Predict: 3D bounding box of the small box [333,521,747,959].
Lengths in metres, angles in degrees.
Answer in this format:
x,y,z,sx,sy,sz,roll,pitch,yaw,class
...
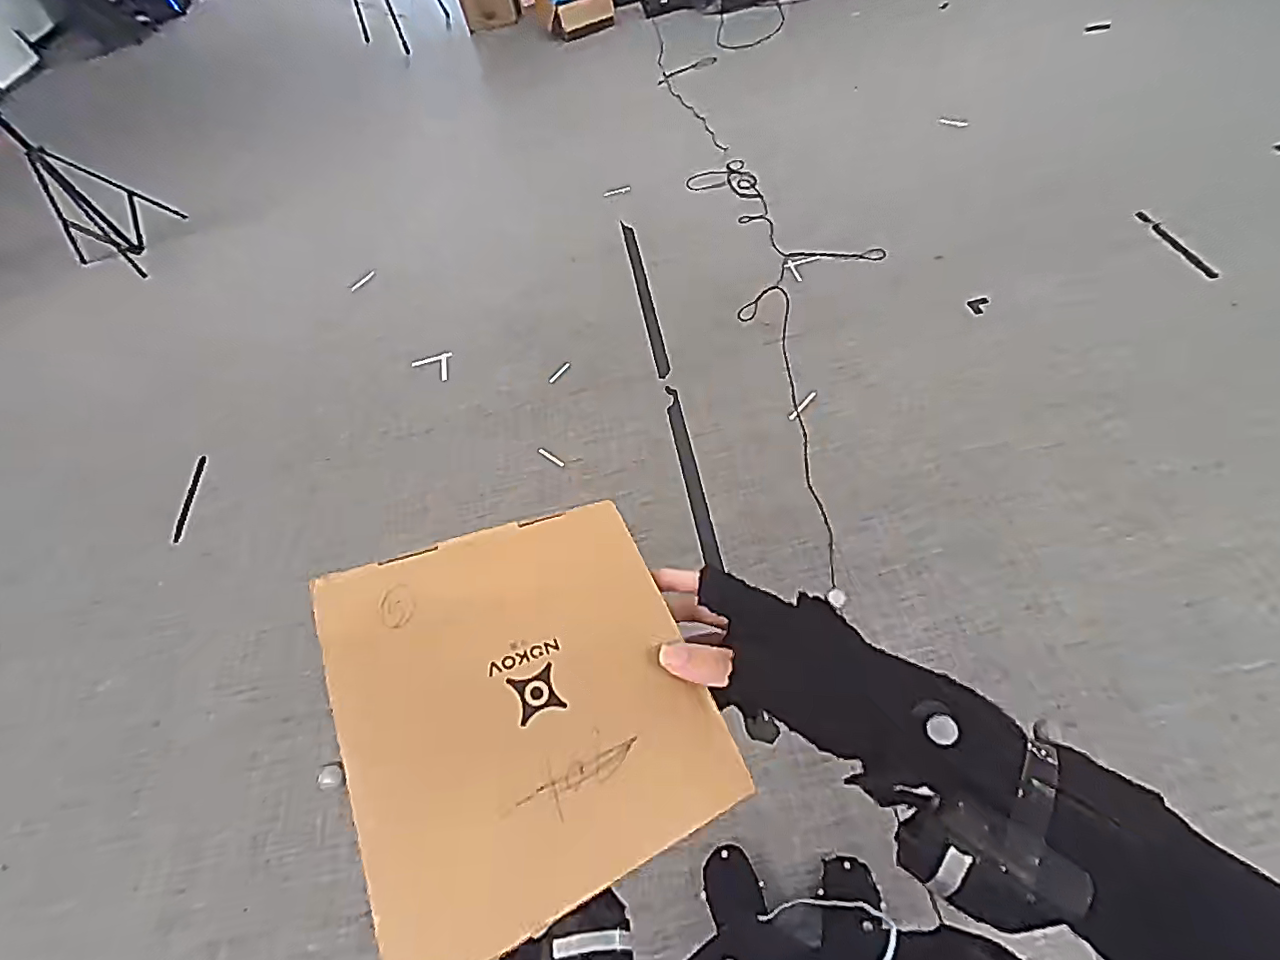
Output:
x,y,z,sx,sy,sz,roll,pitch,yaw,class
-0.073,0.155,0.334,0.168,0.176,0.179,-14,61,-27,small box
